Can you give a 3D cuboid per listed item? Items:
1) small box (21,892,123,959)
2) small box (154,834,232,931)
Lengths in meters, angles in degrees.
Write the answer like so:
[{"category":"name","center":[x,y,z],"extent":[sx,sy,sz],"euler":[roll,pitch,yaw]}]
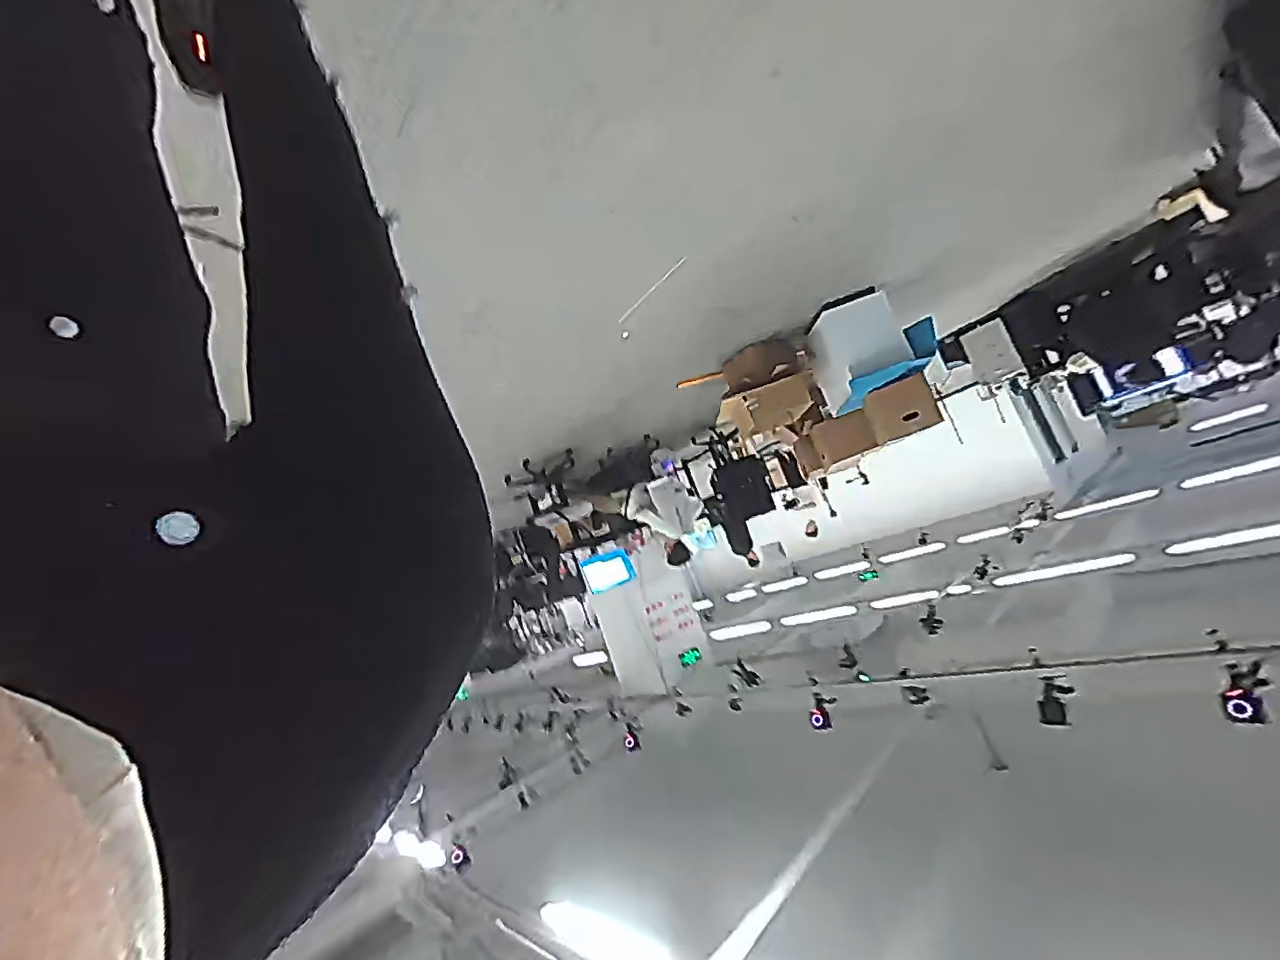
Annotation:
[{"category":"small box","center":[-1.634,1.333,1.562],"extent":[0.179,0.176,0.168],"euler":[-13,170,-45]},{"category":"small box","center":[-1.445,1.293,1.752],"extent":[0.168,0.176,0.179],"euler":[-13,172,-38]}]
